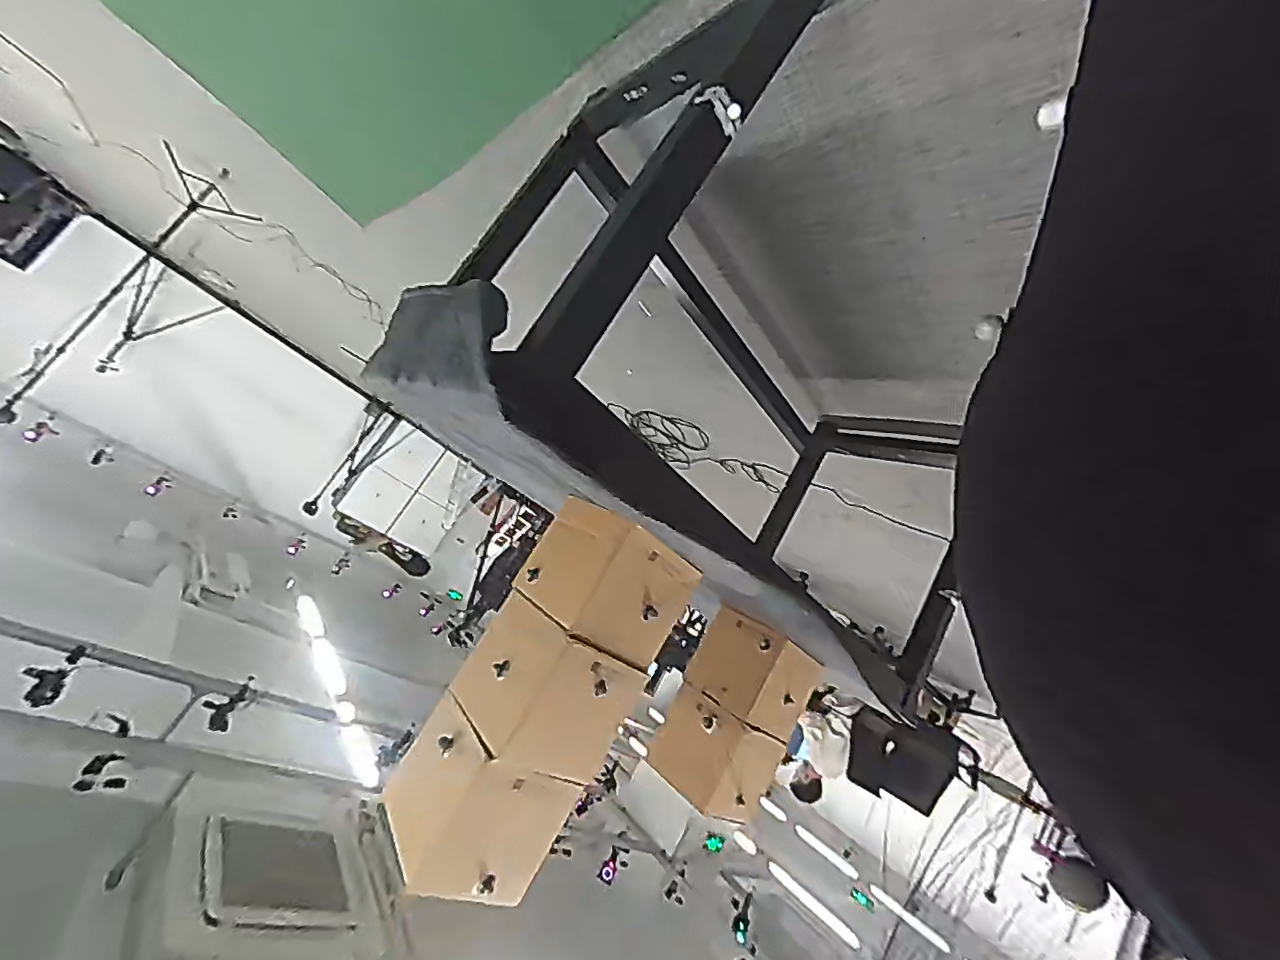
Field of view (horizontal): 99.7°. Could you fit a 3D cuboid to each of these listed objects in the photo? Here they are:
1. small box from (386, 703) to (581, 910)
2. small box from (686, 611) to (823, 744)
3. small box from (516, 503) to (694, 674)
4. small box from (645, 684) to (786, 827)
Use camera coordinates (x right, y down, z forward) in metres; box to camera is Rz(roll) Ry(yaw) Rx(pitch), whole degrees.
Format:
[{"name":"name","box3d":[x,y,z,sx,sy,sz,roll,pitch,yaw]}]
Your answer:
[{"name":"small box","box3d":[-0.209,0.427,0.733,0.168,0.176,0.179,38,167,-34]},{"name":"small box","box3d":[0.229,0.382,1.065,0.168,0.176,0.179,17,162,50]},{"name":"small box","box3d":[-0.043,0.151,0.797,0.168,0.176,0.179,40,166,-37]},{"name":"small box","box3d":[0.150,0.520,1.031,0.168,0.176,0.179,16,160,49]}]
